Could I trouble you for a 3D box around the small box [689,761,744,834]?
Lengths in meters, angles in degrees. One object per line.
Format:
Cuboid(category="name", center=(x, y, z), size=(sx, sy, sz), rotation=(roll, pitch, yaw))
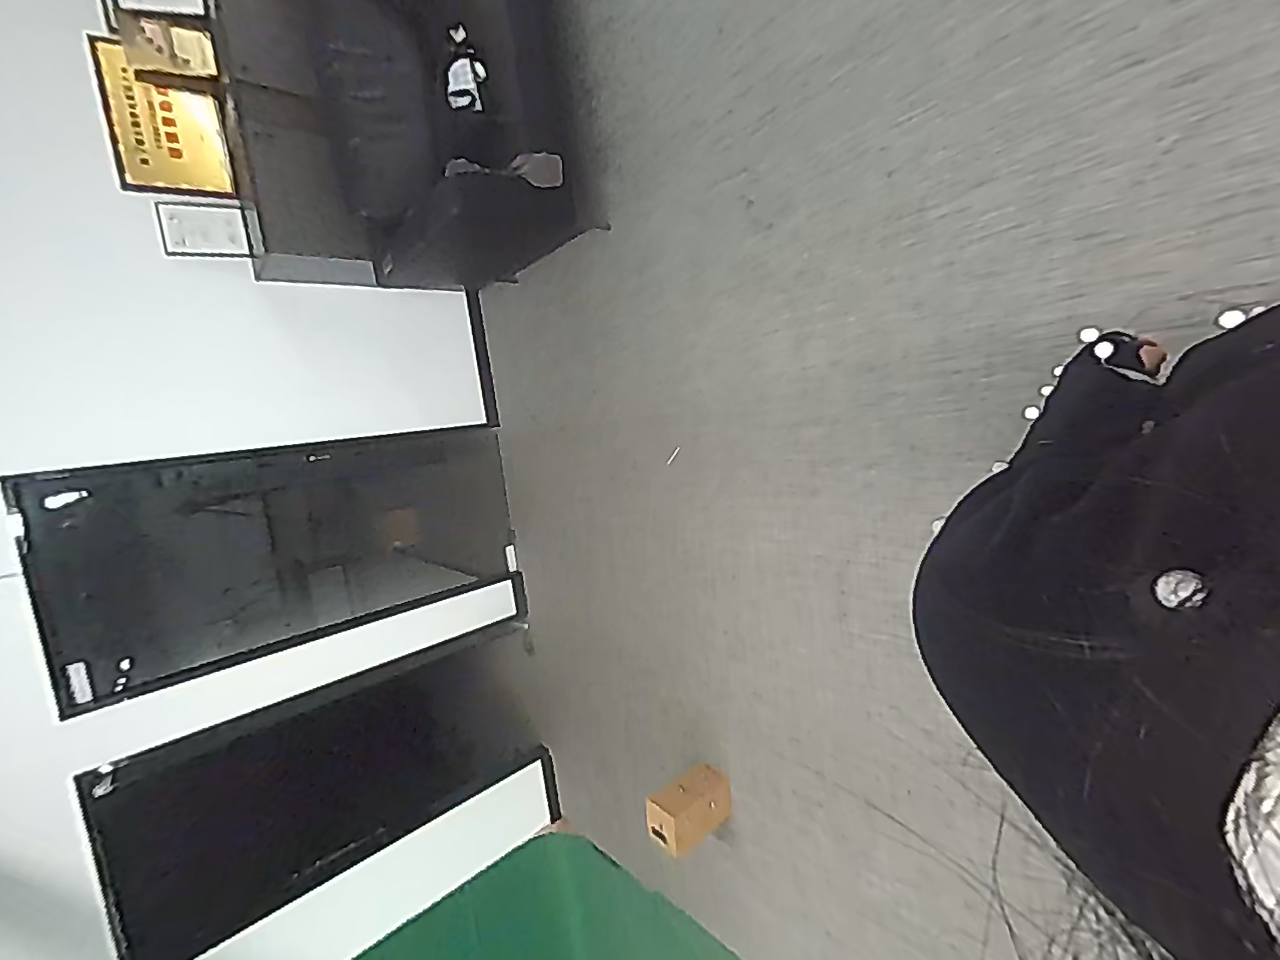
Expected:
Cuboid(category="small box", center=(0.326, 1.332, 2.287), size=(0.168, 0.176, 0.179), rotation=(8, 106, 49))
